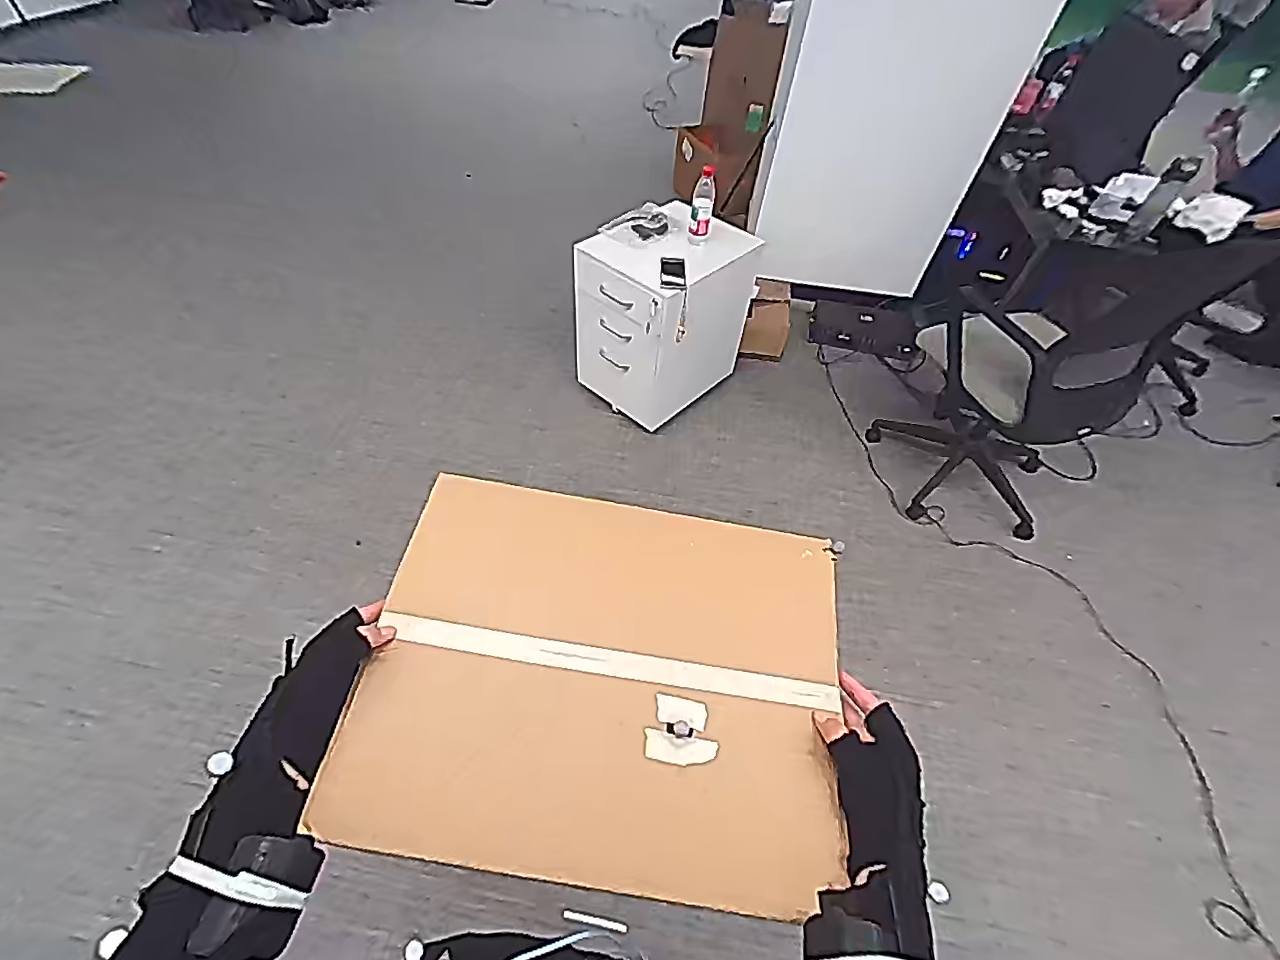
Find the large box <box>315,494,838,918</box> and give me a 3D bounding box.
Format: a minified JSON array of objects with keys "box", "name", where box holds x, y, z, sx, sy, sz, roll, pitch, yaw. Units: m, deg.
[{"box":[-0.045,0.248,0.605,0.408,0.320,0.320,10,59,-1],"name":"large box"}]
